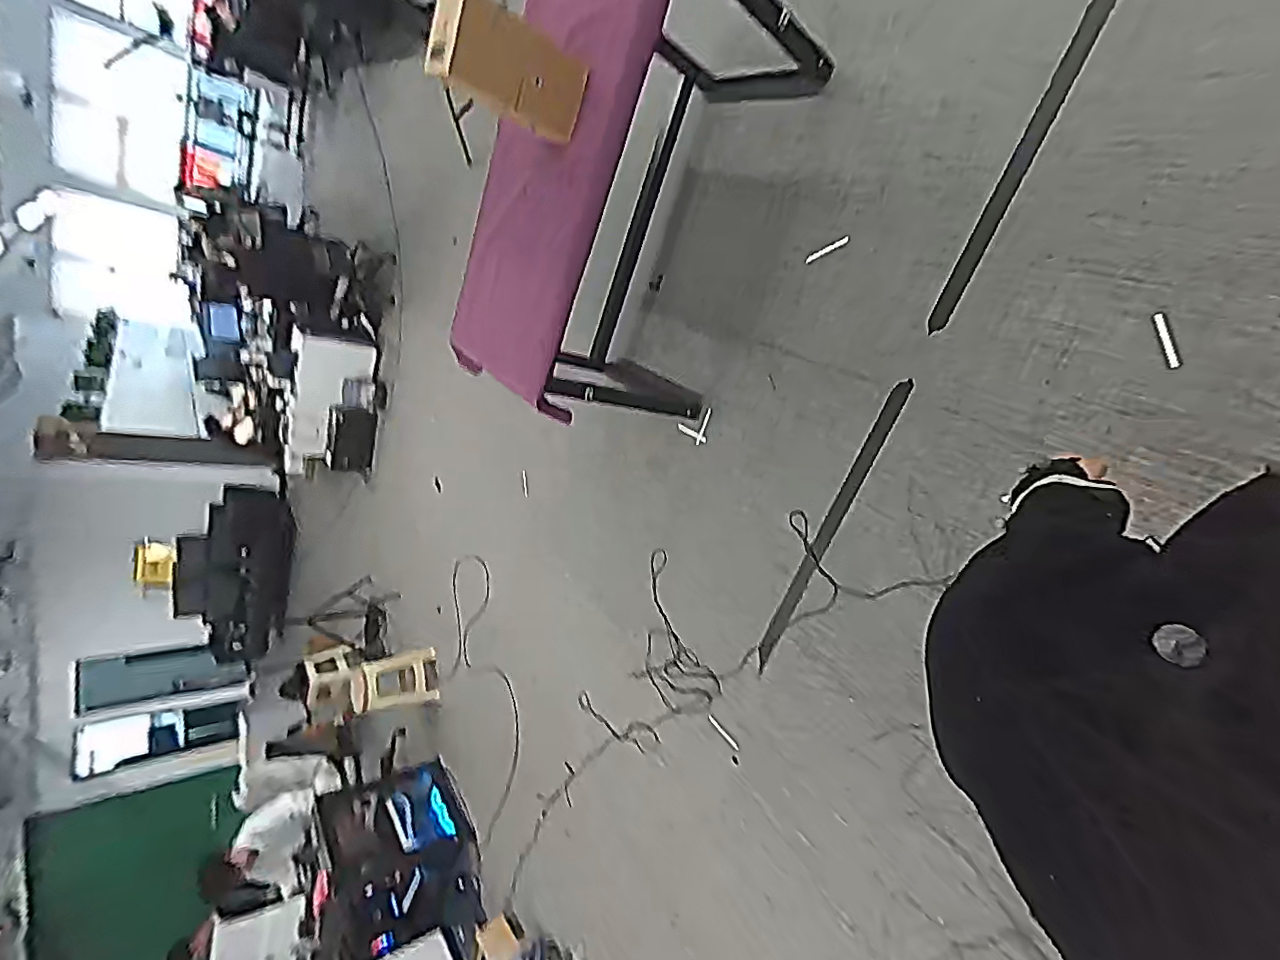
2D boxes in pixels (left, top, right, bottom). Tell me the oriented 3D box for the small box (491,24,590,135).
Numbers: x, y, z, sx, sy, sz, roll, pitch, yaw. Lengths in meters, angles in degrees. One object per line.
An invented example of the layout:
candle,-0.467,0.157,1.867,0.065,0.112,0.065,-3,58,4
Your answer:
small box,-0.250,-1.008,1.374,0.168,0.176,0.179,39,115,40
